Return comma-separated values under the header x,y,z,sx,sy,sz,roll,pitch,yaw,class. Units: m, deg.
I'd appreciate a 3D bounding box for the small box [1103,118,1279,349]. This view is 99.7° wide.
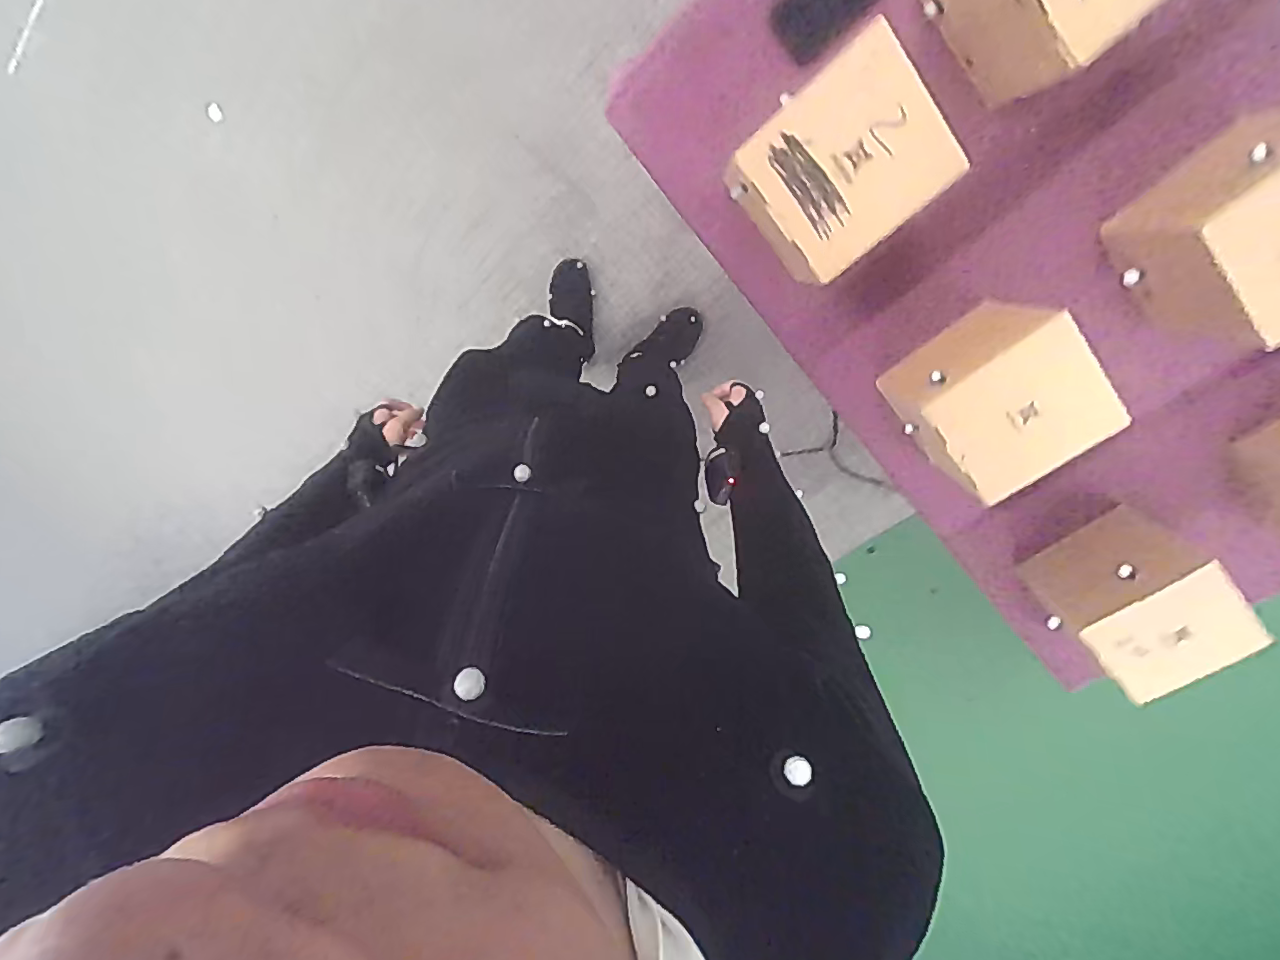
x,y,z,sx,sy,sz,roll,pitch,yaw,class
0.682,-0.276,0.594,0.179,0.176,0.168,-39,103,20,small box

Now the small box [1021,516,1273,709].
x,y,z,sx,sy,sz,roll,pitch,yaw,class
0.711,0.182,0.782,0.179,0.176,0.168,-40,102,20,small box

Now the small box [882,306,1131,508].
x,y,z,sx,sy,sz,roll,pitch,yaw,class
0.449,-0.102,0.693,0.179,0.176,0.168,-37,105,18,small box

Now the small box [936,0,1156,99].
x,y,z,sx,sy,sz,roll,pitch,yaw,class
0.416,-0.515,0.518,0.179,0.176,0.168,-39,104,19,small box
